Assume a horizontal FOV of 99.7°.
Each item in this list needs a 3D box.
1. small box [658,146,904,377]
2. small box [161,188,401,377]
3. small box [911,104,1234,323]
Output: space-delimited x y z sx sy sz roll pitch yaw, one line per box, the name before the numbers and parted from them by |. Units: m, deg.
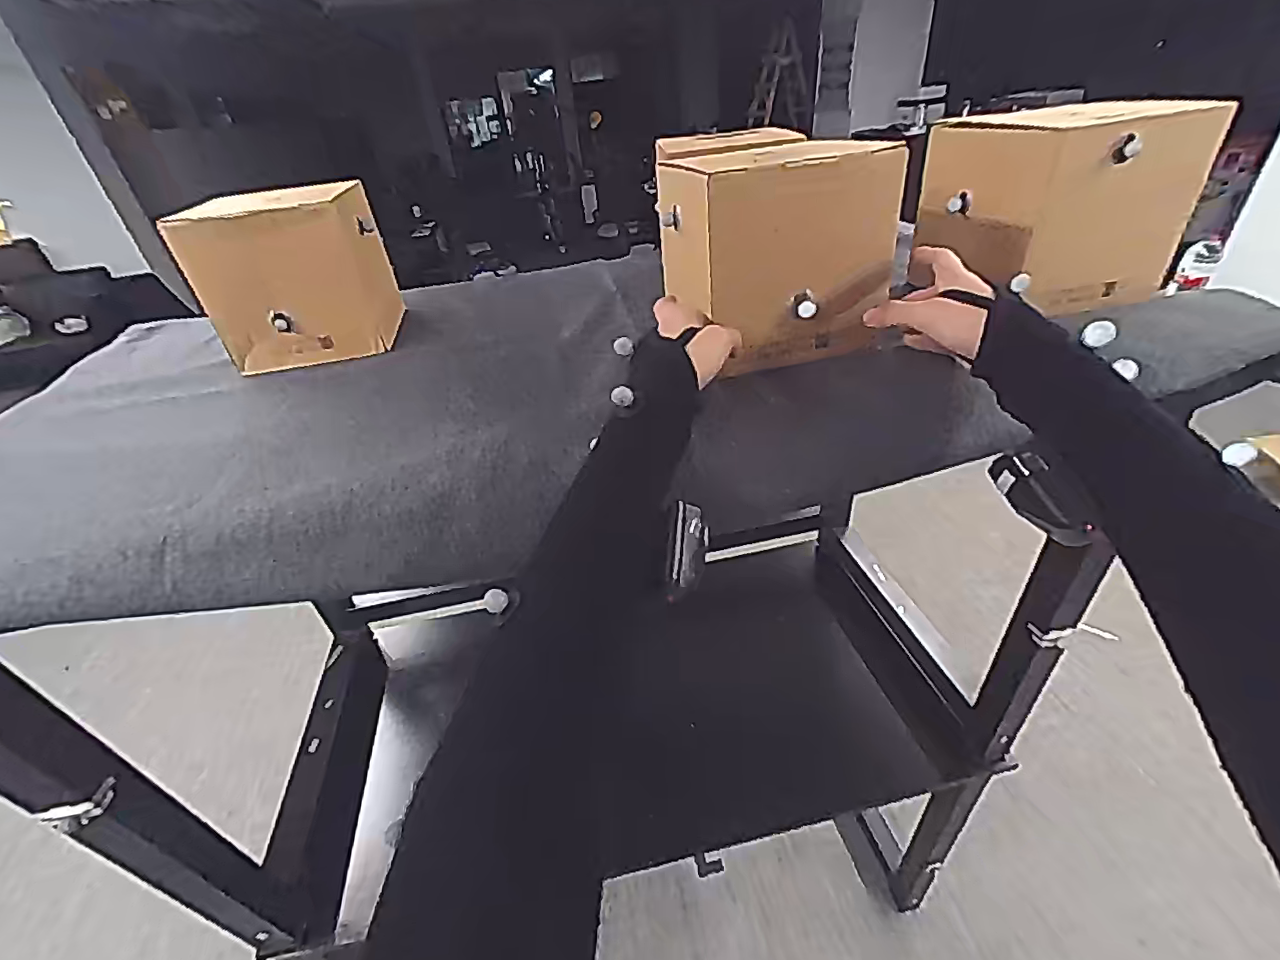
small box | 0.118 -0.216 0.524 0.168 0.176 0.179 -12 34 -6
small box | -0.405 -0.242 0.654 0.168 0.176 0.179 -12 36 -8
small box | 0.411 -0.274 0.557 0.168 0.176 0.179 -11 34 -5
